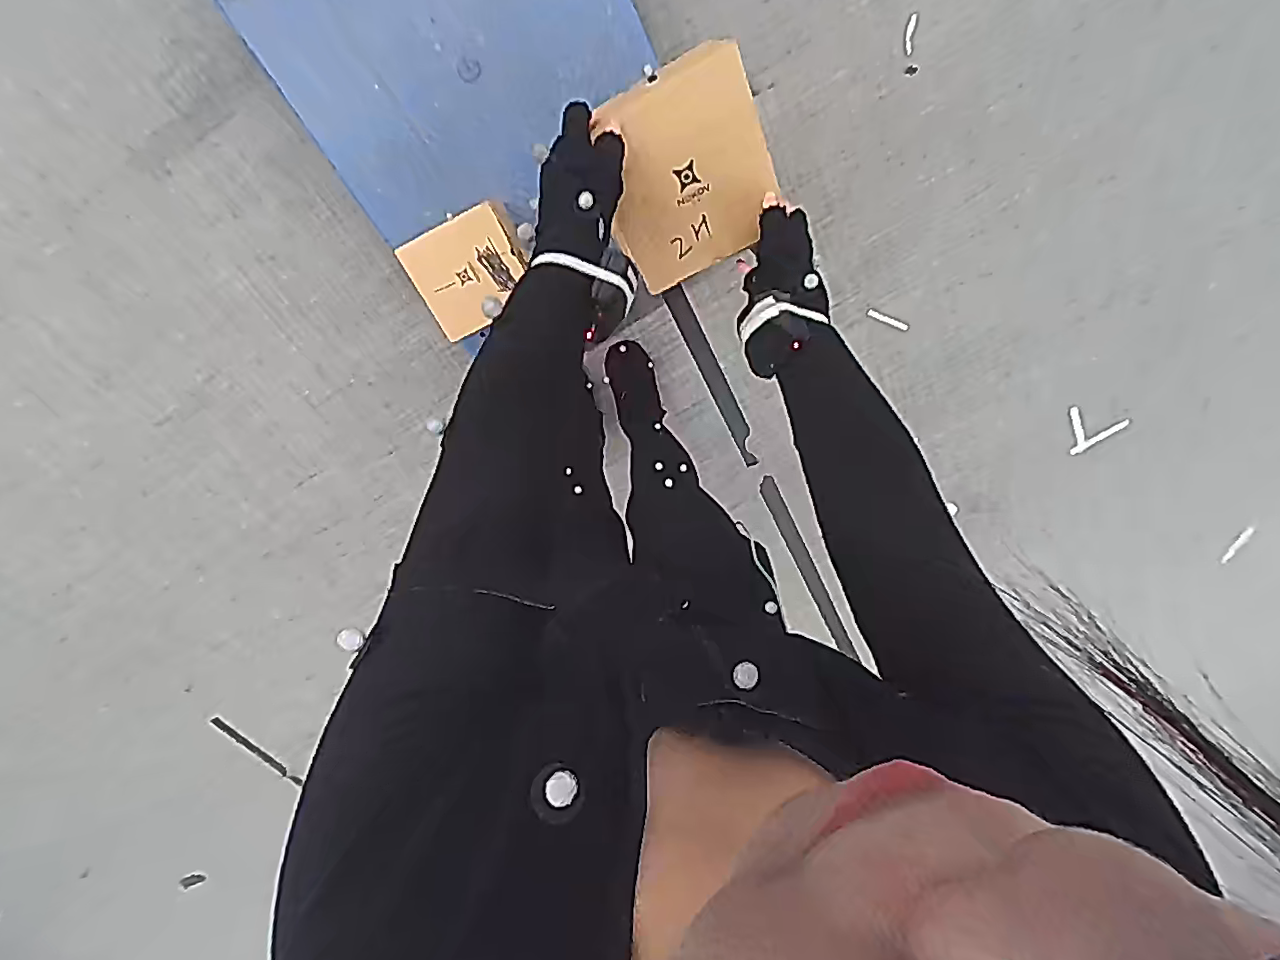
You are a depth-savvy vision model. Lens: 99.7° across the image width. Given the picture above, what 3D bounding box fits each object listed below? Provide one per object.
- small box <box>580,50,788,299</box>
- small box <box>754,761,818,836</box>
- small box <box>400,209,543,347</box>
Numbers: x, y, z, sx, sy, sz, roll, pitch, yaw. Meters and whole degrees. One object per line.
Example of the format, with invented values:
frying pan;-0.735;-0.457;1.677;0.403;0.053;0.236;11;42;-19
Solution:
small box;0.046;-0.343;0.608;0.168;0.176;0.179;-21;129;16
small box;0.547;1.191;2.041;0.168;0.176;0.179;-22;117;6
small box;-0.286;-0.364;0.964;0.179;0.176;0.168;-25;116;6
